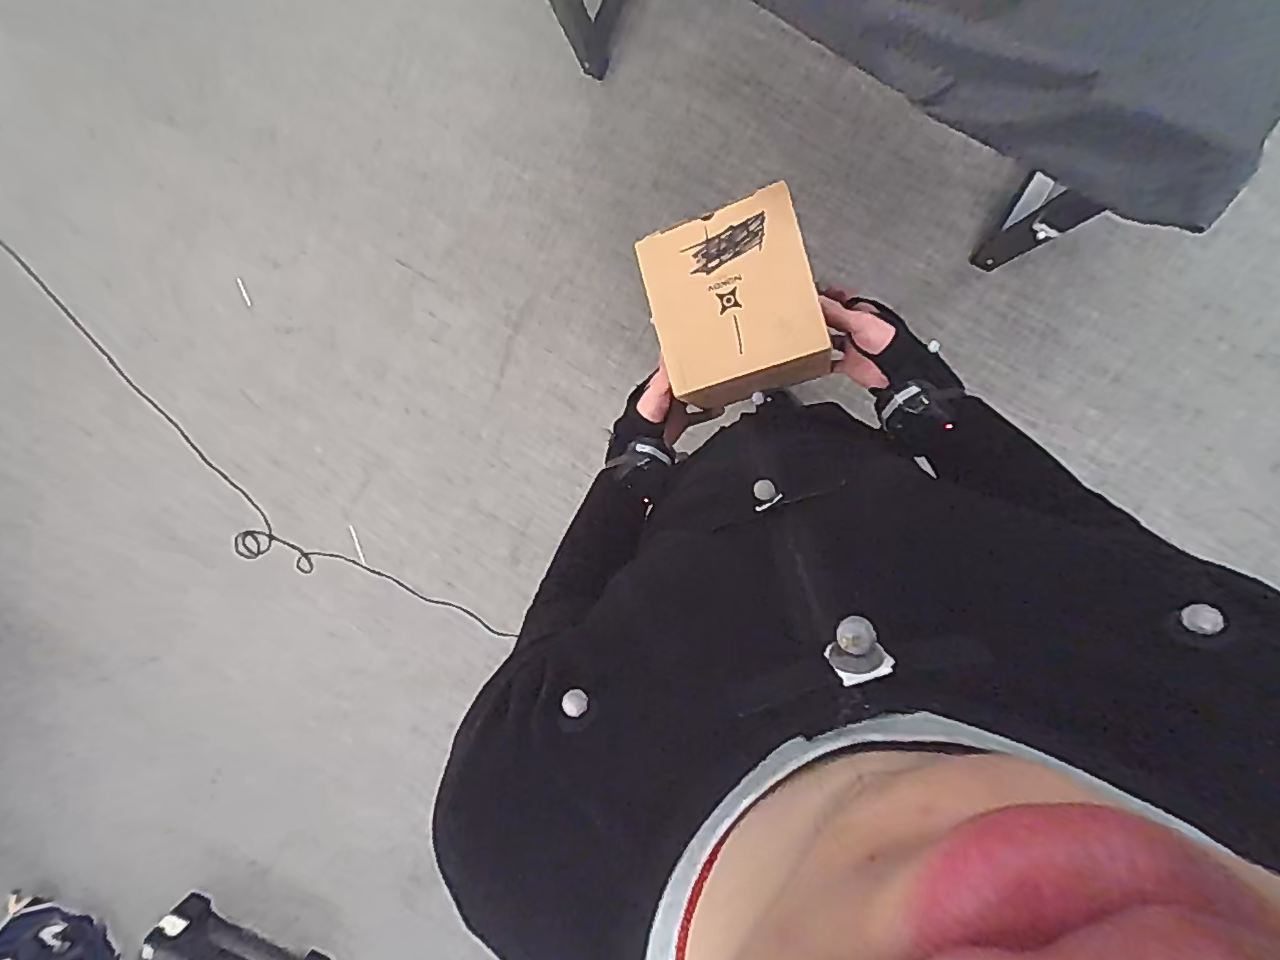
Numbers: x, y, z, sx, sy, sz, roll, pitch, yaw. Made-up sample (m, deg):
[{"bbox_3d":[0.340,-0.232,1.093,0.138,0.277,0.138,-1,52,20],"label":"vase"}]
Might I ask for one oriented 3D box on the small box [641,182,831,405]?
[{"bbox_3d":[0.117,-0.198,0.632,0.168,0.176,0.179,-14,88,18],"label":"small box"}]
